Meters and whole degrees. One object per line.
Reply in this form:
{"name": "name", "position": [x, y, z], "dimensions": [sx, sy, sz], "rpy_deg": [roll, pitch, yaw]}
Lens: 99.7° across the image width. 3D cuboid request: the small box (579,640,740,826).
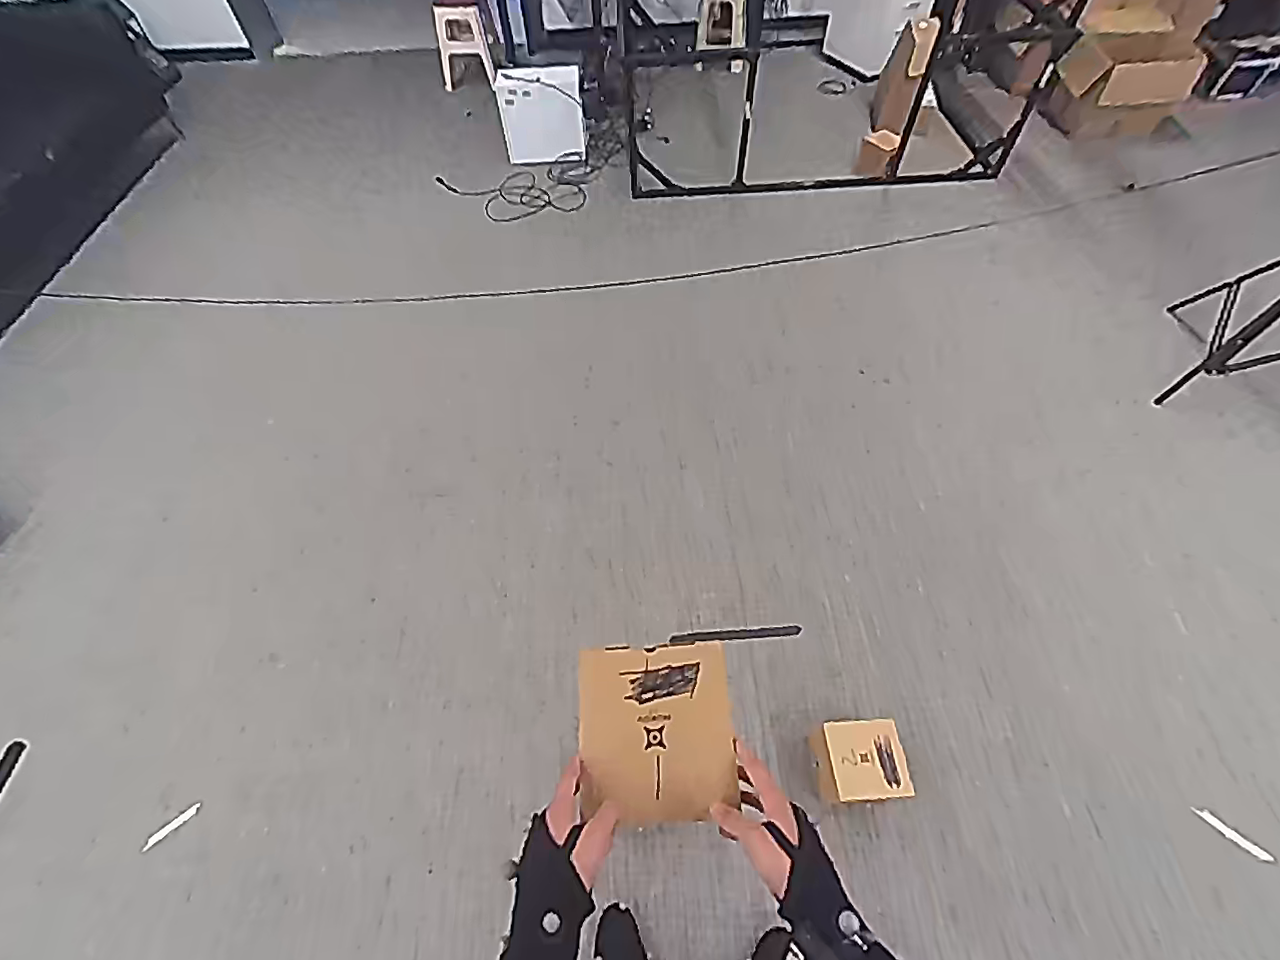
{"name": "small box", "position": [0.017, 0.301, 0.649], "dimensions": [0.168, 0.176, 0.179], "rpy_deg": [-4, 64, 0]}
